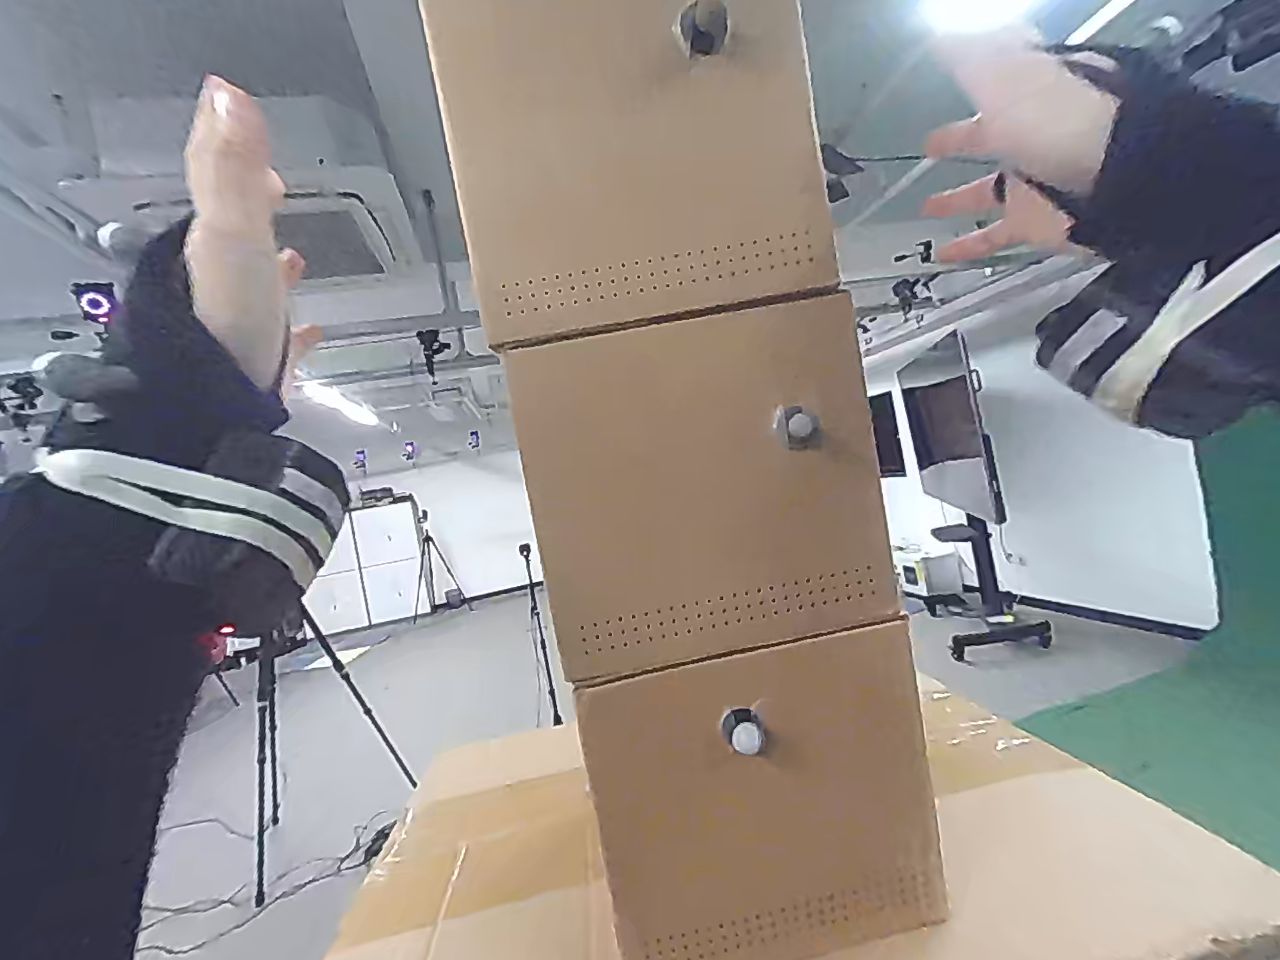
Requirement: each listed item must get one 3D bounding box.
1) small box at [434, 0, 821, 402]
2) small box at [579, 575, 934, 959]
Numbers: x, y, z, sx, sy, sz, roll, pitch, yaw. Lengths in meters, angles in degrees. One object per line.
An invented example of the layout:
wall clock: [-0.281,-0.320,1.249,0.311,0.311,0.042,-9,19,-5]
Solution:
small box: [0.000,-0.148,0.338,0.179,0.176,0.168,-11,2,-1]
small box: [0.062,0.175,0.350,0.179,0.176,0.168,-11,2,-5]
